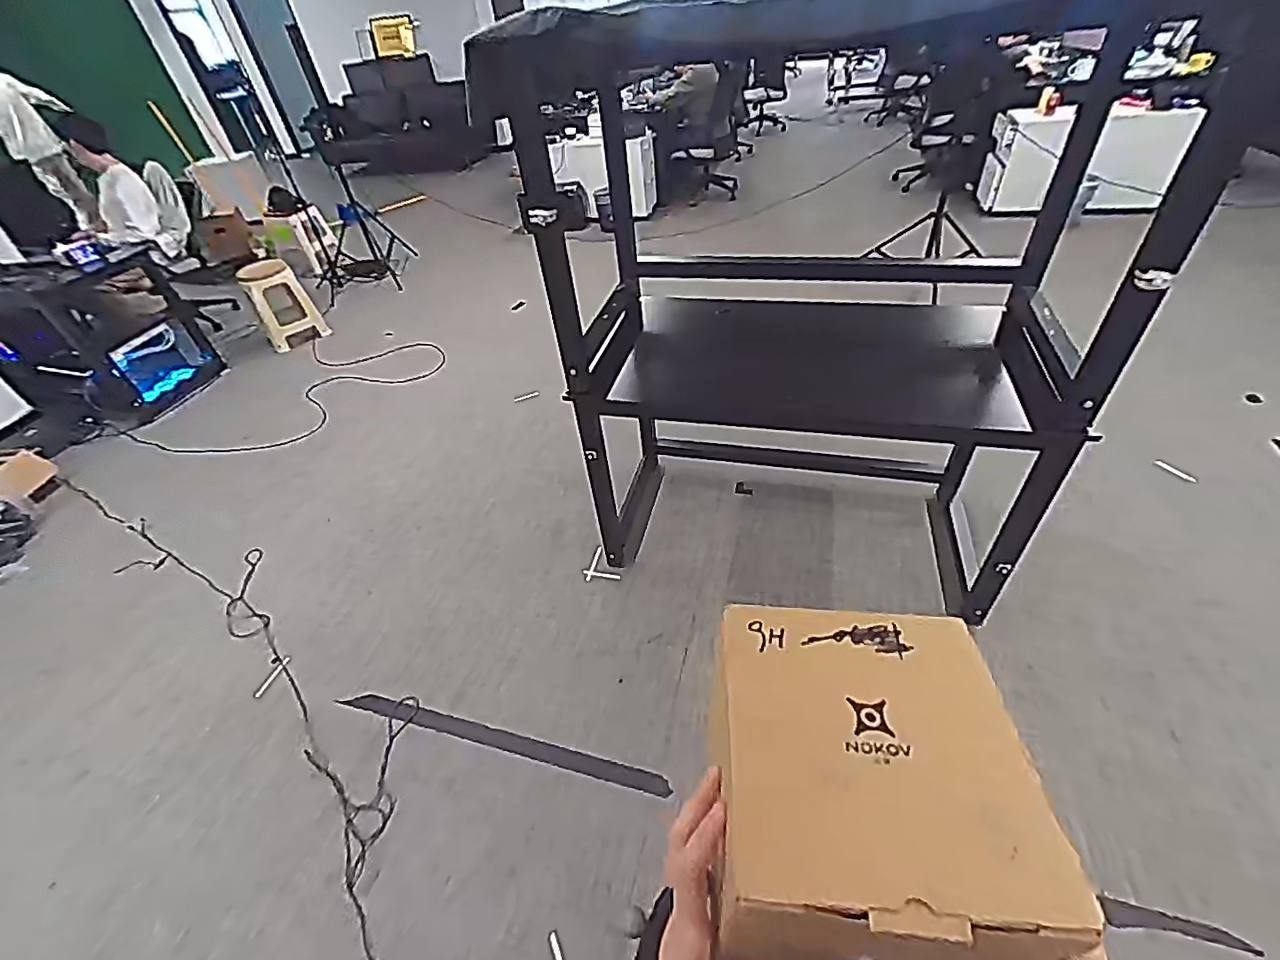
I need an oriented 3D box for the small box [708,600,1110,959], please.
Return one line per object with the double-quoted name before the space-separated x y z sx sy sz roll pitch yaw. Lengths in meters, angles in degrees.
"small box" 0.134 0.204 0.354 0.168 0.176 0.179 3 39 4
